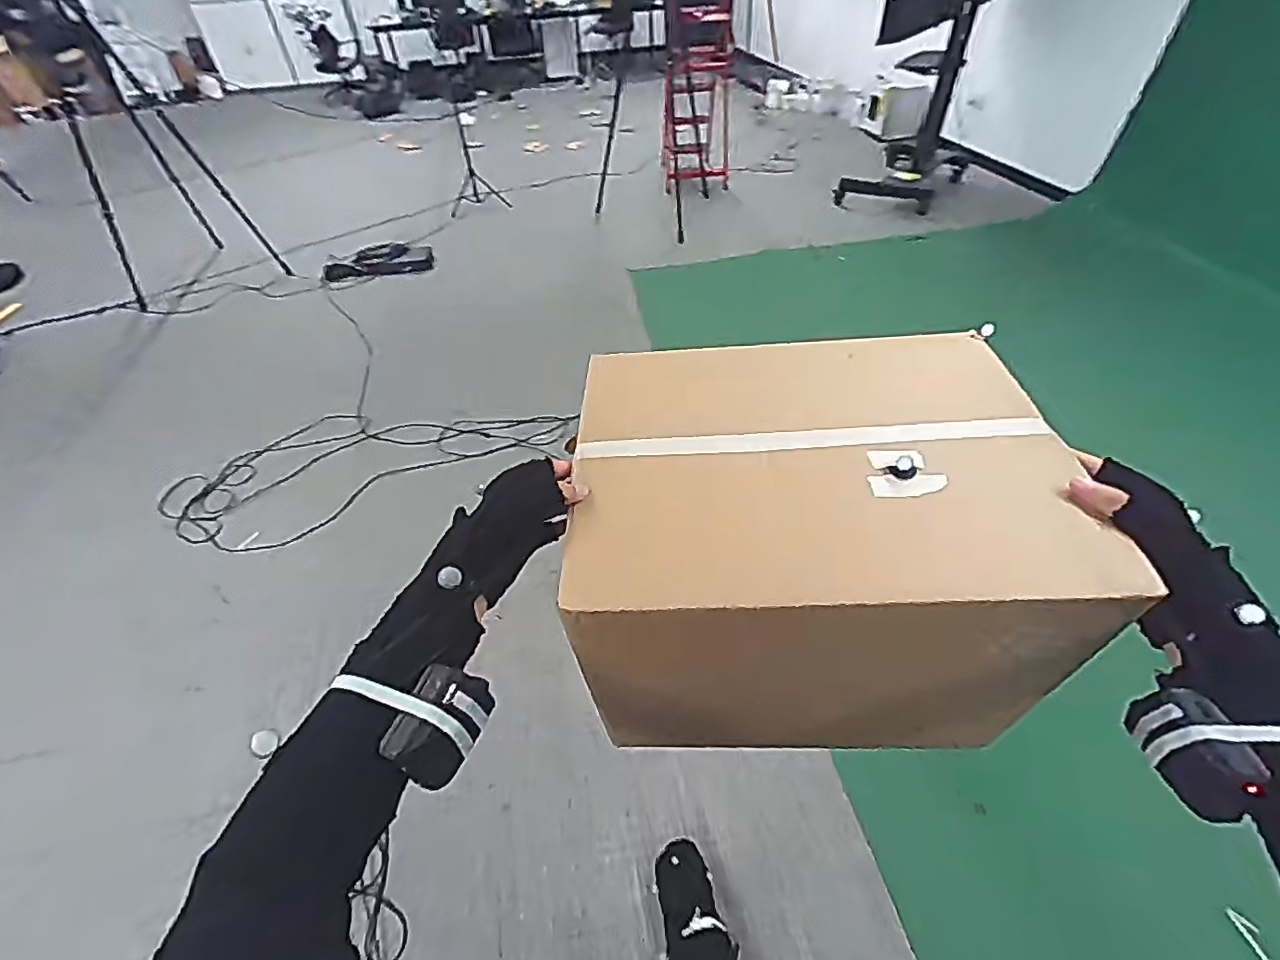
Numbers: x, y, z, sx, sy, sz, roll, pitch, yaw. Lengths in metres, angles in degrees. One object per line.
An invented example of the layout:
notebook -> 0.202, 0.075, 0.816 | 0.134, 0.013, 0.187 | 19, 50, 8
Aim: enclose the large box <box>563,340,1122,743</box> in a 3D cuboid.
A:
large box -> 0.149, 0.074, 0.592 | 0.408, 0.320, 0.320 | -3, 48, 4
